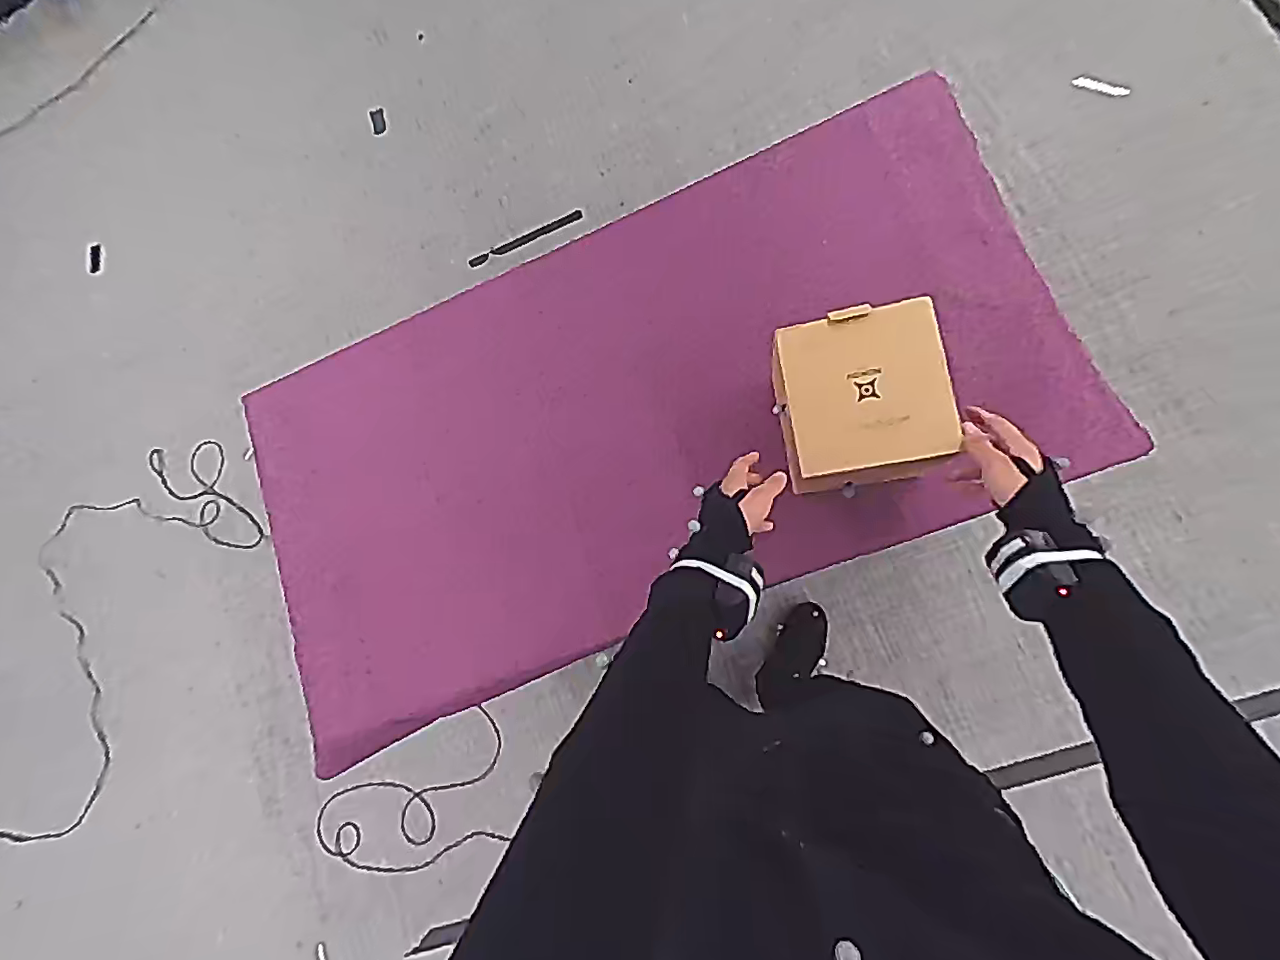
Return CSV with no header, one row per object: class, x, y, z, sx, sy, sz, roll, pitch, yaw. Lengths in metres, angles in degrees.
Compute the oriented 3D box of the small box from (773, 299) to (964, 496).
small box,0.255,-0.086,0.651,0.168,0.176,0.179,-9,80,12
